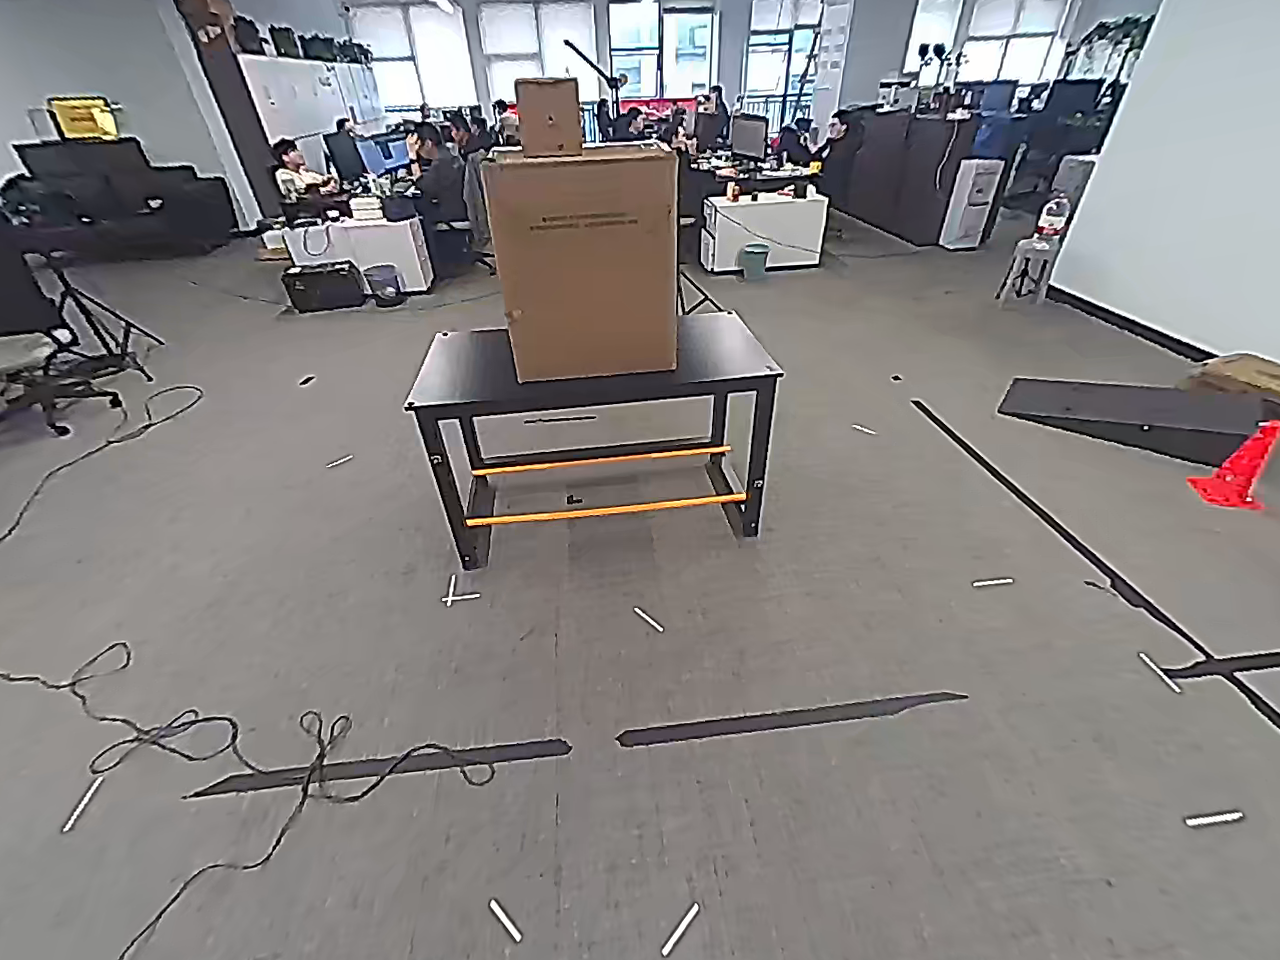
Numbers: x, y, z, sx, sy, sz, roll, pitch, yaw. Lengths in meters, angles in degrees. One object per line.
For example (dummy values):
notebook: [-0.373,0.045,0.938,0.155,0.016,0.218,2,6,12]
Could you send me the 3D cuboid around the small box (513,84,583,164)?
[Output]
small box: [-0.248,-0.978,1.488,0.168,0.176,0.179,-5,39,-5]
